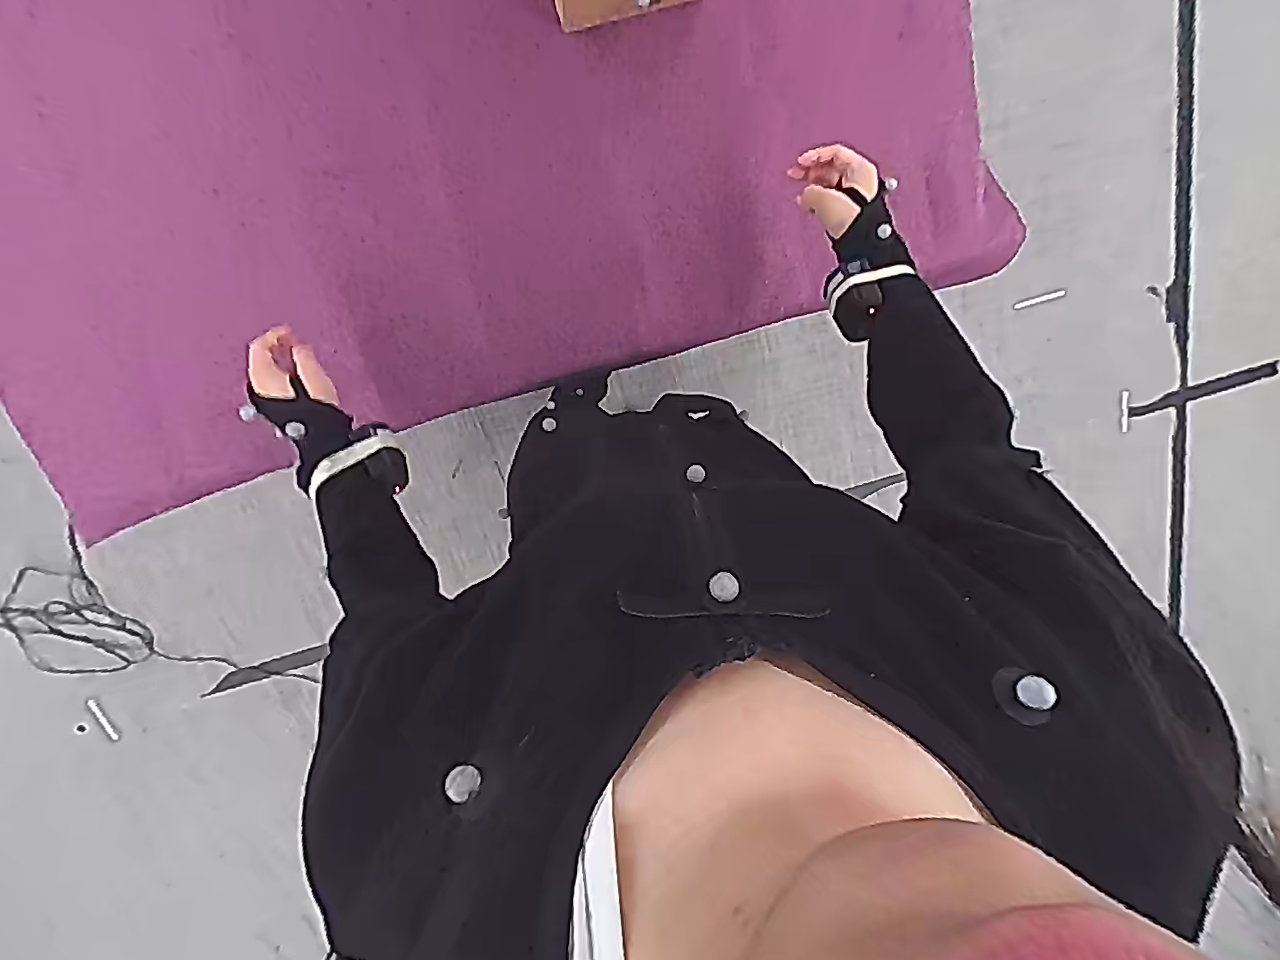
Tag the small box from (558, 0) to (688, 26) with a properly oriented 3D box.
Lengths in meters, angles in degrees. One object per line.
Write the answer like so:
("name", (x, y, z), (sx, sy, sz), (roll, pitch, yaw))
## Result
("small box", (-0.017, -0.576, 0.498), (0.168, 0.176, 0.179), (-17, 109, -2))
